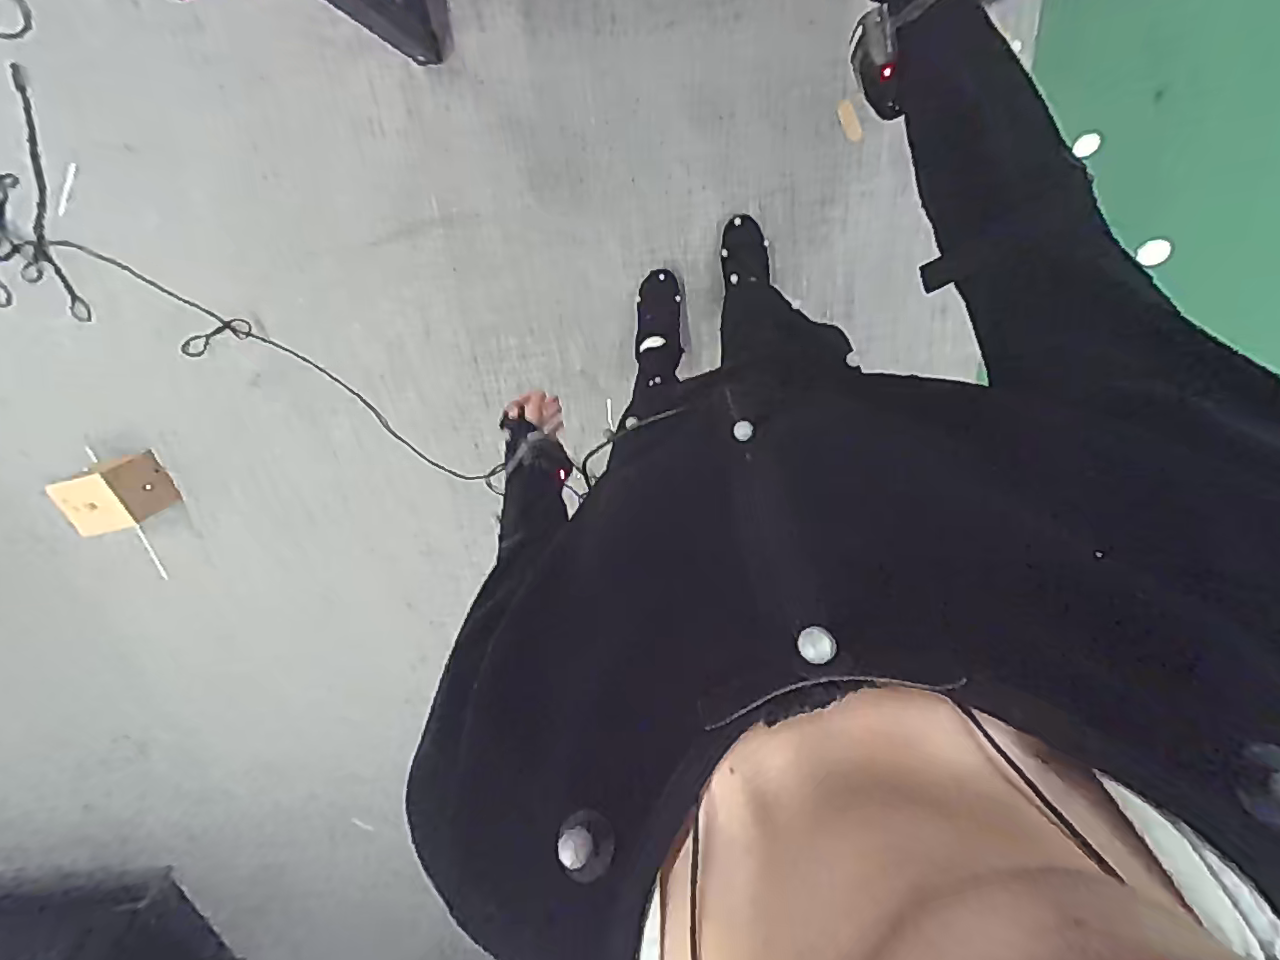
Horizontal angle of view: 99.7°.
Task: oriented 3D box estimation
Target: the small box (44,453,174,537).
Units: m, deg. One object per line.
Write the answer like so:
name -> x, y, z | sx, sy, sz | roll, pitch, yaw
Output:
small box -> -1.481, 0.036, 1.530 | 0.179, 0.176, 0.168 | -11, 114, 6
